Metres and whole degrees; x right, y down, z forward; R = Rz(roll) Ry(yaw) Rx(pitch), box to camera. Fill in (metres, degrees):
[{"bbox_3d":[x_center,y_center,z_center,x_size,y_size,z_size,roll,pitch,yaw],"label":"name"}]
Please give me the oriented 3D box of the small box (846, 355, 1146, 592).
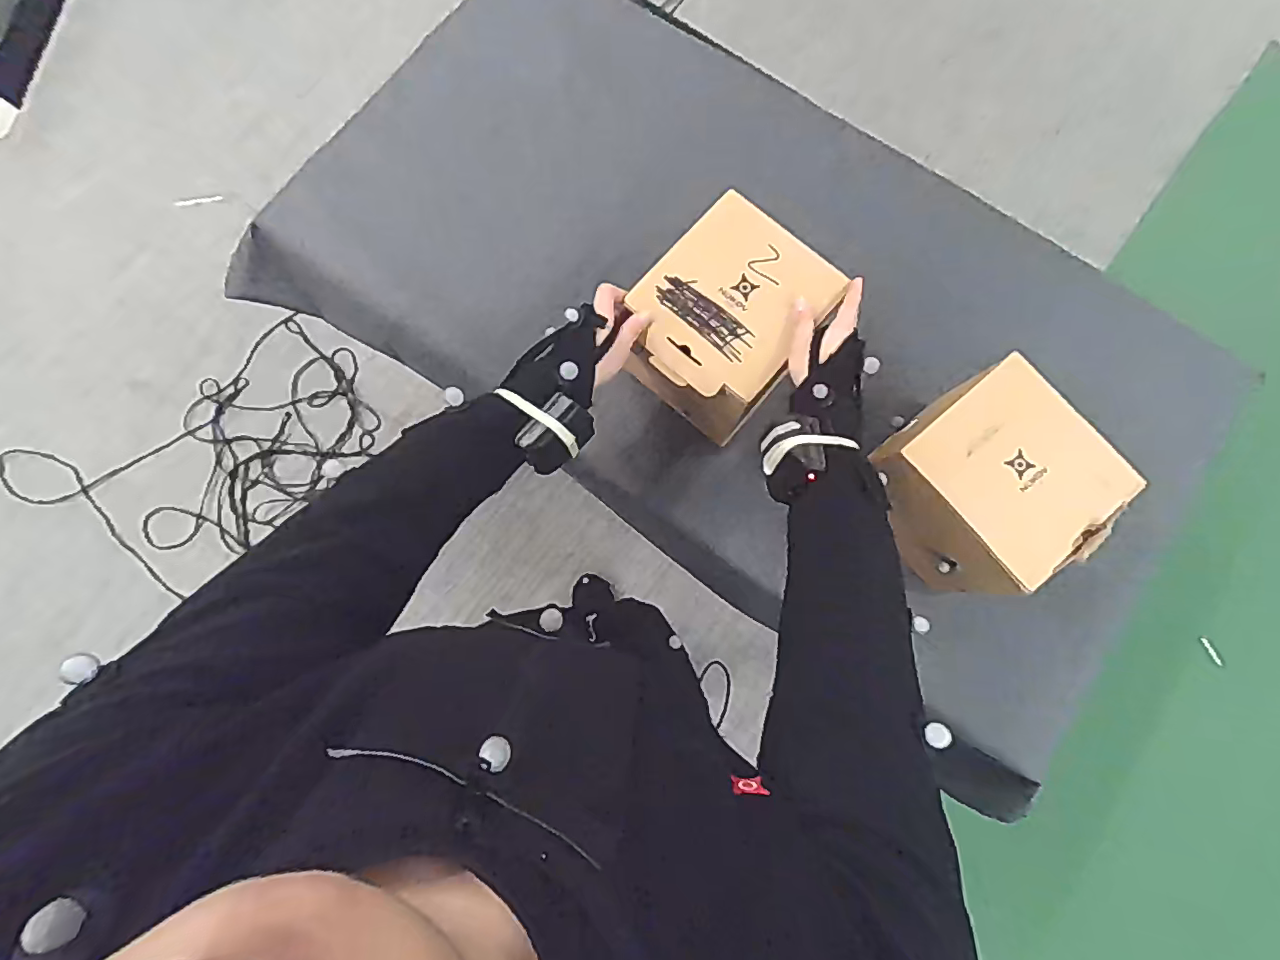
[{"bbox_3d":[0.367,0.003,0.596,0.168,0.176,0.179,-38,81,-7],"label":"small box"}]
